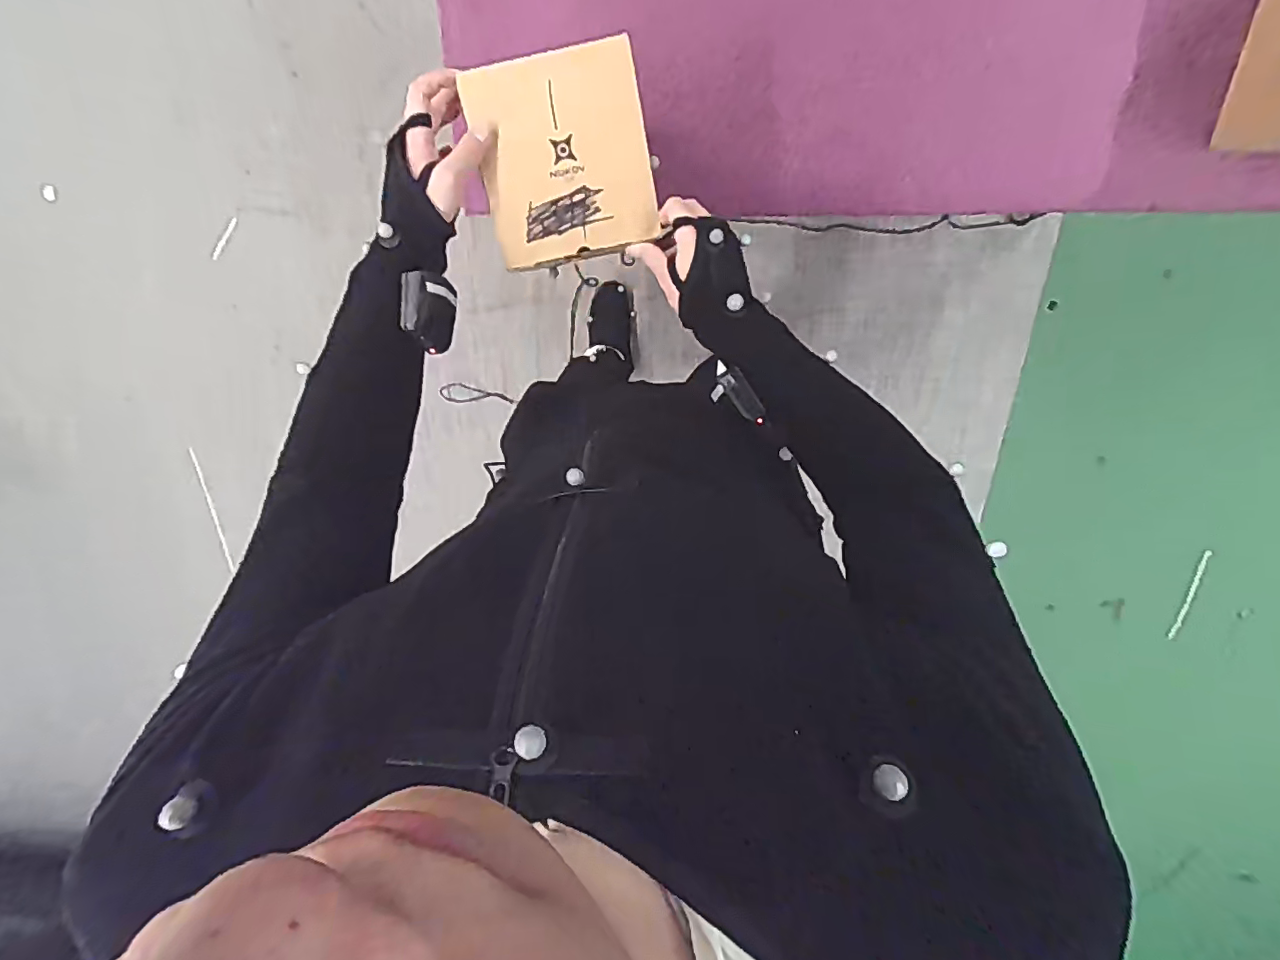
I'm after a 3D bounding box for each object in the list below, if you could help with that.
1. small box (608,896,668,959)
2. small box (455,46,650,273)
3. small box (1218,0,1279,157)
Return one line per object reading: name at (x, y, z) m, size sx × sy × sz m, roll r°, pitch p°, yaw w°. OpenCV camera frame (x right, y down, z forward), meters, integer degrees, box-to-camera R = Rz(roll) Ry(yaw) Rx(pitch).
small box at (-0.007, 1.502, 1.755) m, size 0.168 × 0.176 × 0.179 m, roll 13°, pitch 112°, yaw 2°
small box at (-0.081, -0.341, 0.610) m, size 0.168 × 0.176 × 0.179 m, roll -10°, pitch 111°, yaw 4°
small box at (0.760, -0.439, 0.541) m, size 0.168 × 0.176 × 0.179 m, roll 3°, pitch 112°, yaw 6°
